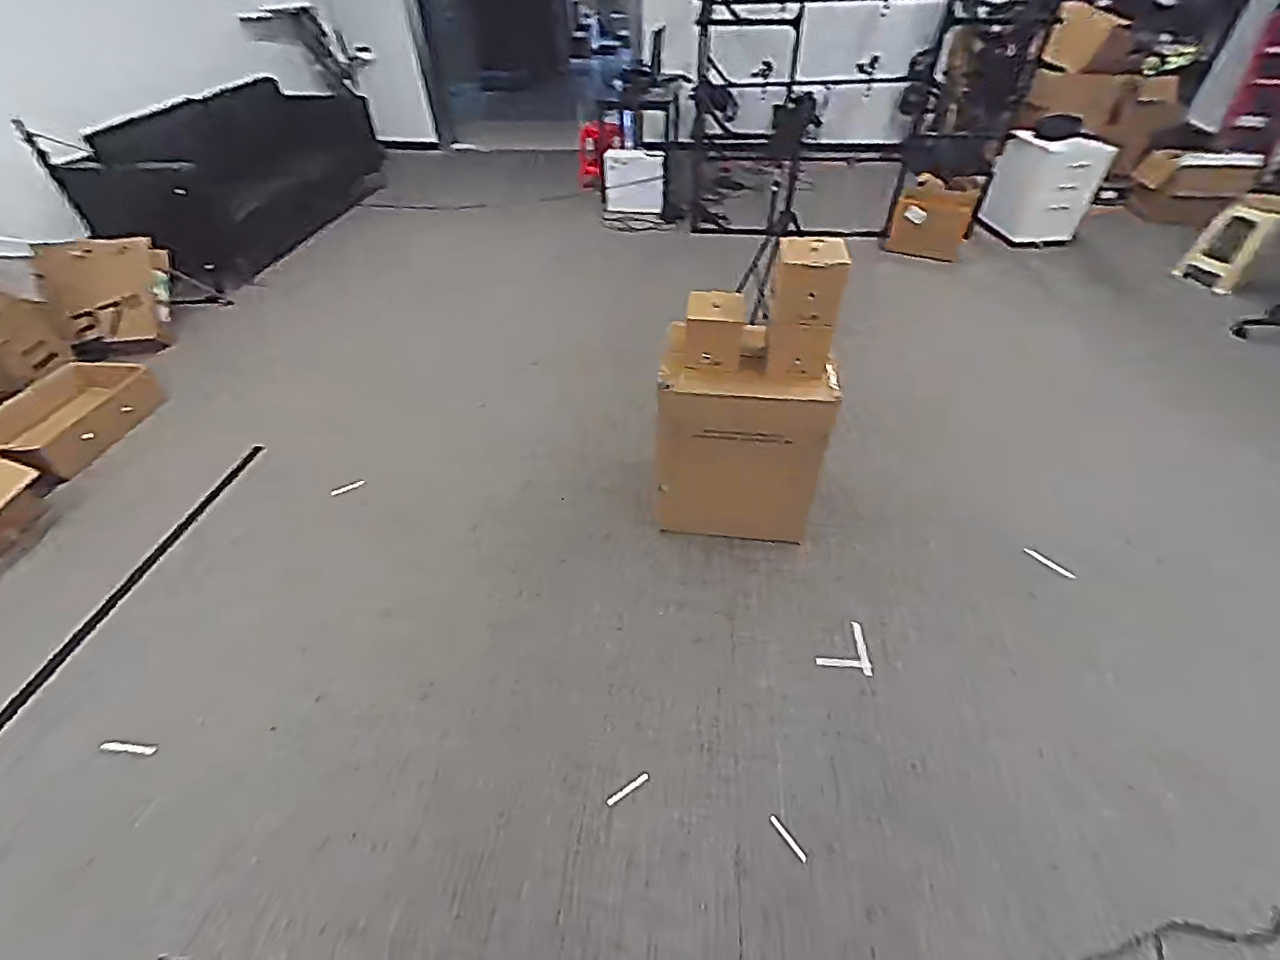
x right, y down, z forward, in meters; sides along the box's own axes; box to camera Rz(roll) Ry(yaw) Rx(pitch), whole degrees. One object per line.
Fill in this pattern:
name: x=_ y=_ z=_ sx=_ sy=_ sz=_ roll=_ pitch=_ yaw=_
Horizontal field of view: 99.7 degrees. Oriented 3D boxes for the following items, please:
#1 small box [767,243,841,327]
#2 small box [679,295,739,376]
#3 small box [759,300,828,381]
small box: x=0.442 y=-0.532 z=1.479 sx=0.168 sy=0.176 sz=0.179 roll=4 pitch=45 yaw=8
small box: x=0.207 y=-0.435 z=1.625 sx=0.168 sy=0.176 sz=0.179 roll=3 pitch=45 yaw=6
small box: x=0.443 y=-0.411 z=1.590 sx=0.168 sy=0.176 sz=0.179 roll=3 pitch=44 yaw=7
